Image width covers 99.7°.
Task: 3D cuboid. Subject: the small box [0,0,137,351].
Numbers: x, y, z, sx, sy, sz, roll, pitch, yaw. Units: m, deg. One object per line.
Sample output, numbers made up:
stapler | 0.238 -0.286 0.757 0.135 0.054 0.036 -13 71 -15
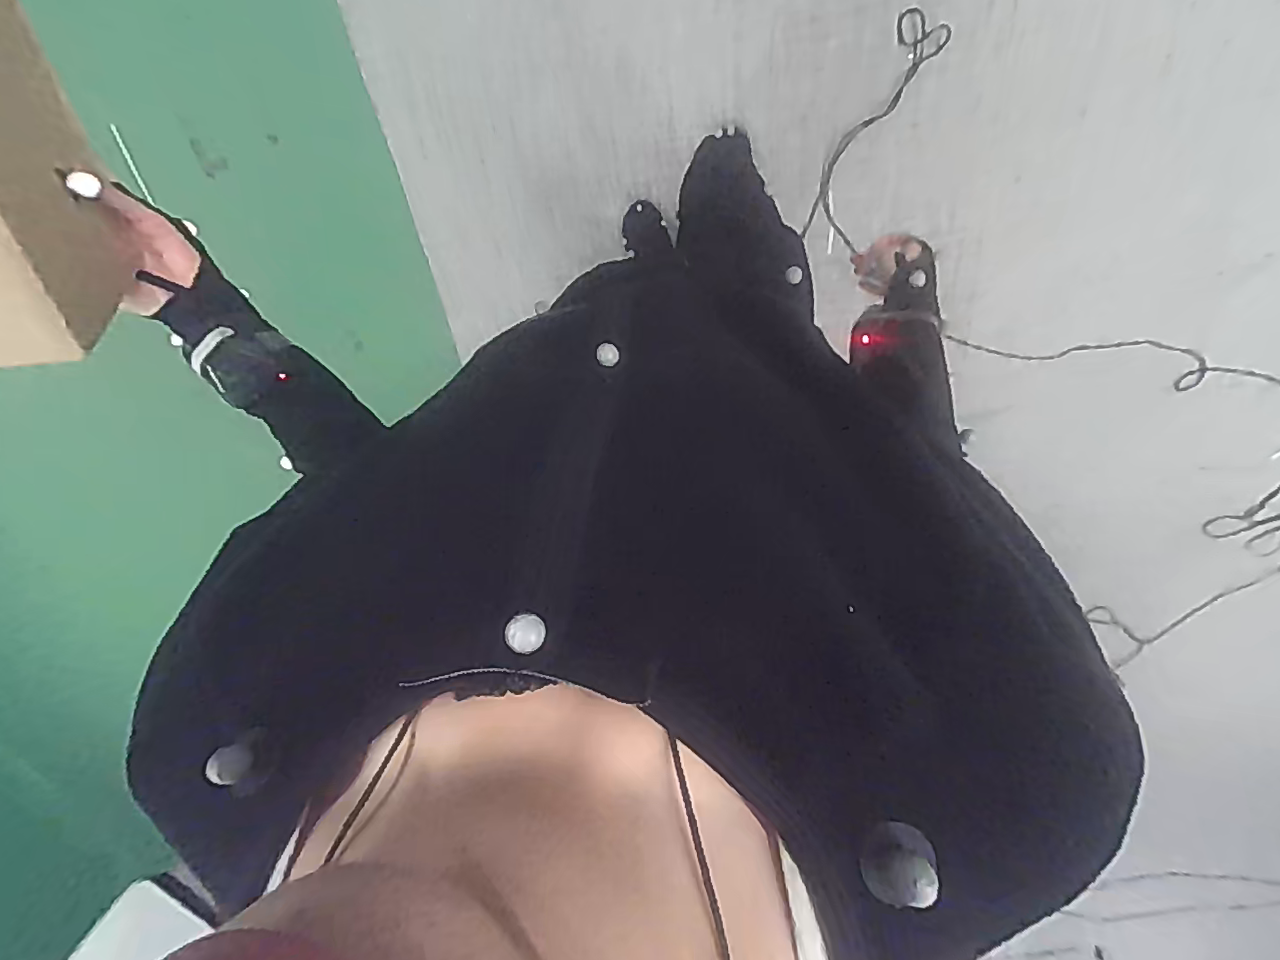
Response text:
small box | -0.413 -0.180 0.281 0.168 0.179 0.176 -12 136 -24
